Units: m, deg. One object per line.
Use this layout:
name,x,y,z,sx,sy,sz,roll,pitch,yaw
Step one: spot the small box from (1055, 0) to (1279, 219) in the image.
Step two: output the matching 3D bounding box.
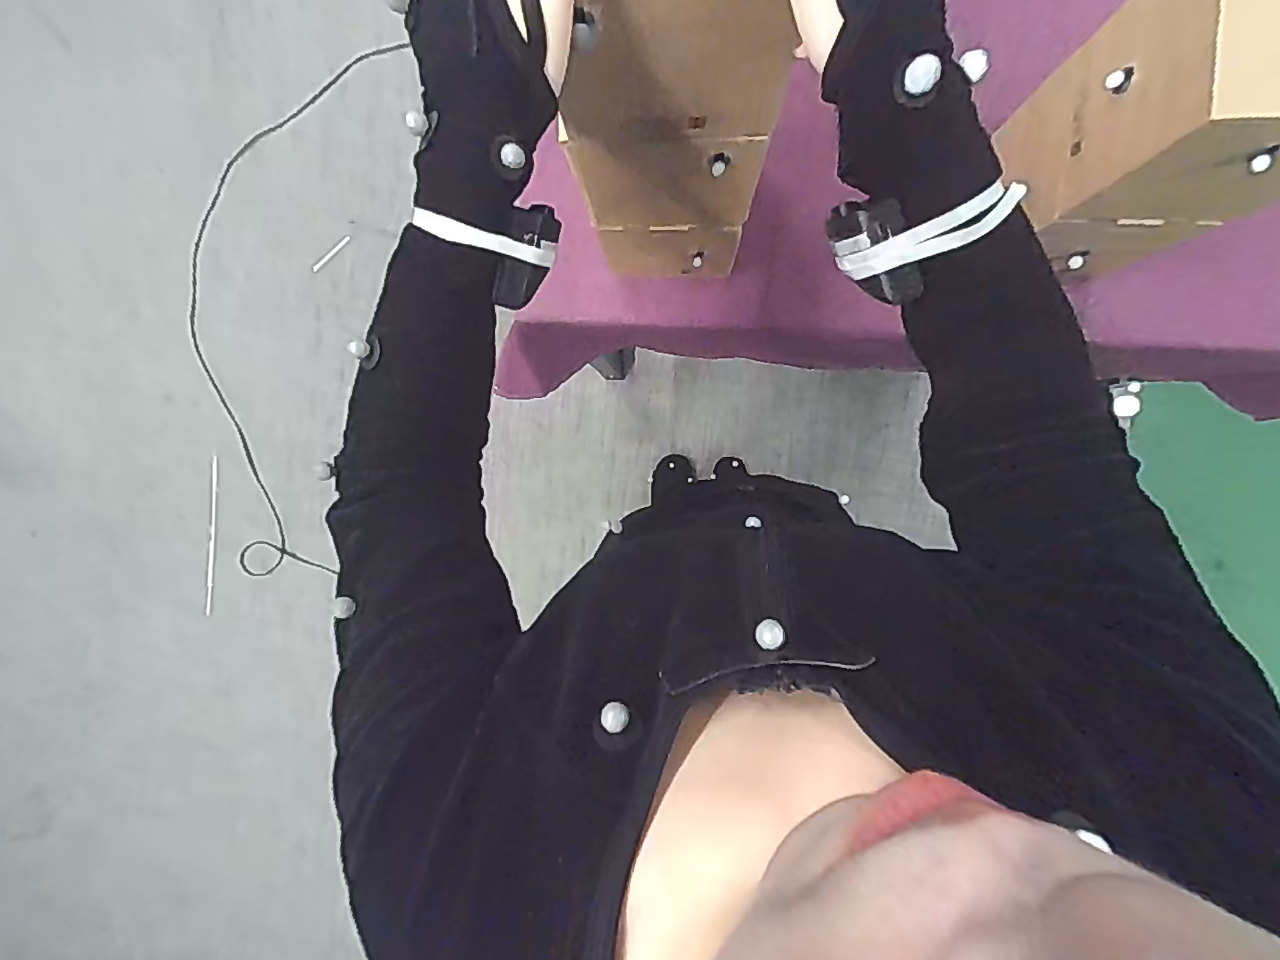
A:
small box,0.515,-0.350,0.480,0.179,0.176,0.168,3,93,4

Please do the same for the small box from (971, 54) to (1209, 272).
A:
small box,0.525,-0.360,0.645,0.168,0.176,0.179,4,94,4

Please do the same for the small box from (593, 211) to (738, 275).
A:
small box,0.037,-0.369,0.681,0.168,0.176,0.179,2,92,3

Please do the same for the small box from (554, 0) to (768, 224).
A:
small box,0.021,-0.363,0.520,0.179,0.176,0.168,0,93,3
